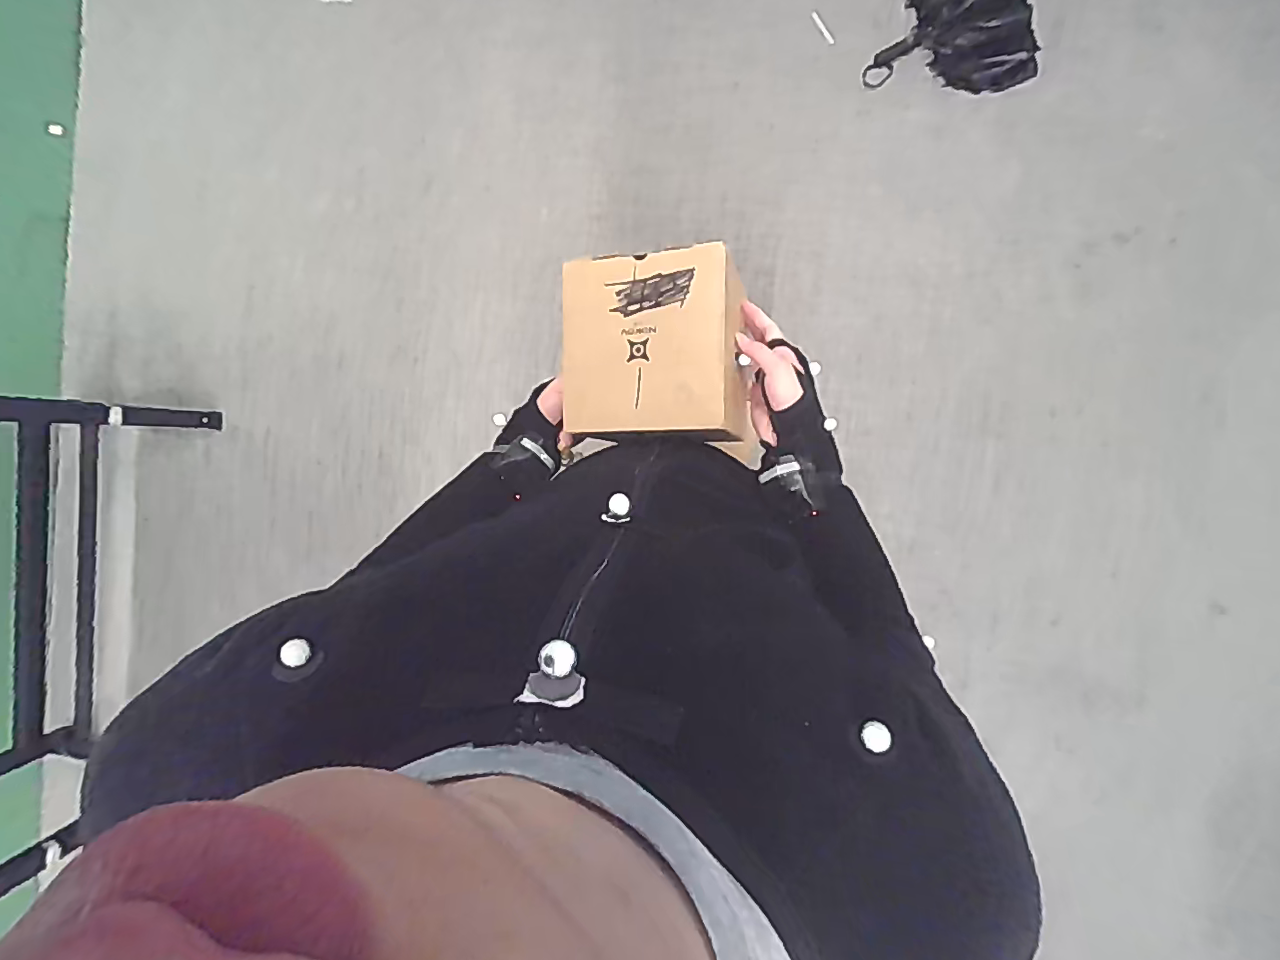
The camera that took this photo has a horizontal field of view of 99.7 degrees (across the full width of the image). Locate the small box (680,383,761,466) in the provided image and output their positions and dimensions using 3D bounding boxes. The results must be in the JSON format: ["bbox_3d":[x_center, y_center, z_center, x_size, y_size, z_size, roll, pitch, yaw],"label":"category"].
[{"bbox_3d":[0.215,-0.148,1.463,0.168,0.176,0.179,19,97,7],"label":"small box"}]
